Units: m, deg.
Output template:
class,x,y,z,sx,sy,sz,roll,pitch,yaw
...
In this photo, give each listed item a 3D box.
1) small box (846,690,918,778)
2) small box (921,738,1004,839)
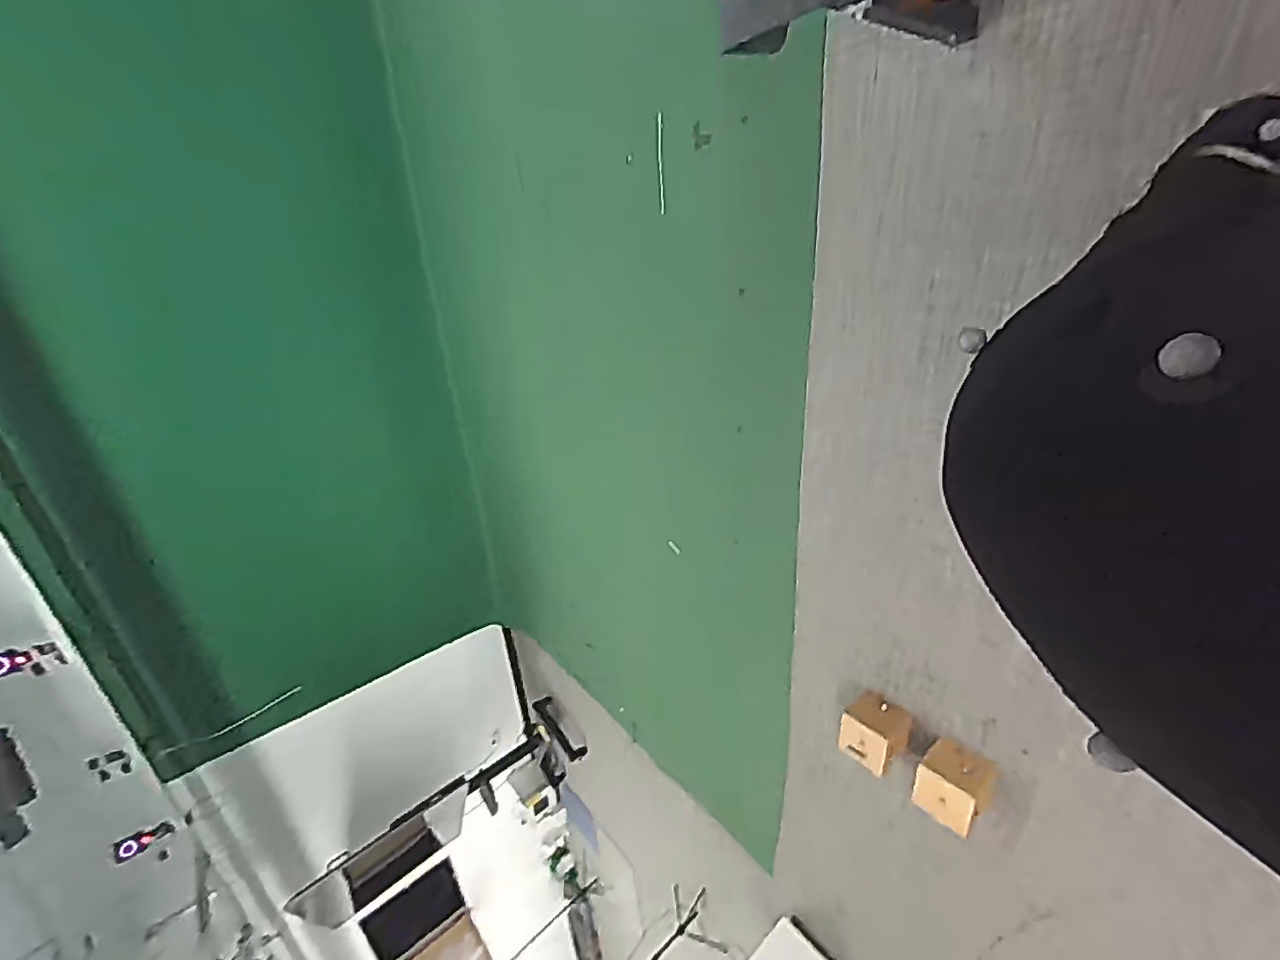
class,x,y,z,sx,sy,sz,roll,pitch,yaw
small box,0.840,0.875,1.875,0.168,0.176,0.179,23,125,47
small box,1.008,0.952,1.687,0.168,0.176,0.179,22,125,47
